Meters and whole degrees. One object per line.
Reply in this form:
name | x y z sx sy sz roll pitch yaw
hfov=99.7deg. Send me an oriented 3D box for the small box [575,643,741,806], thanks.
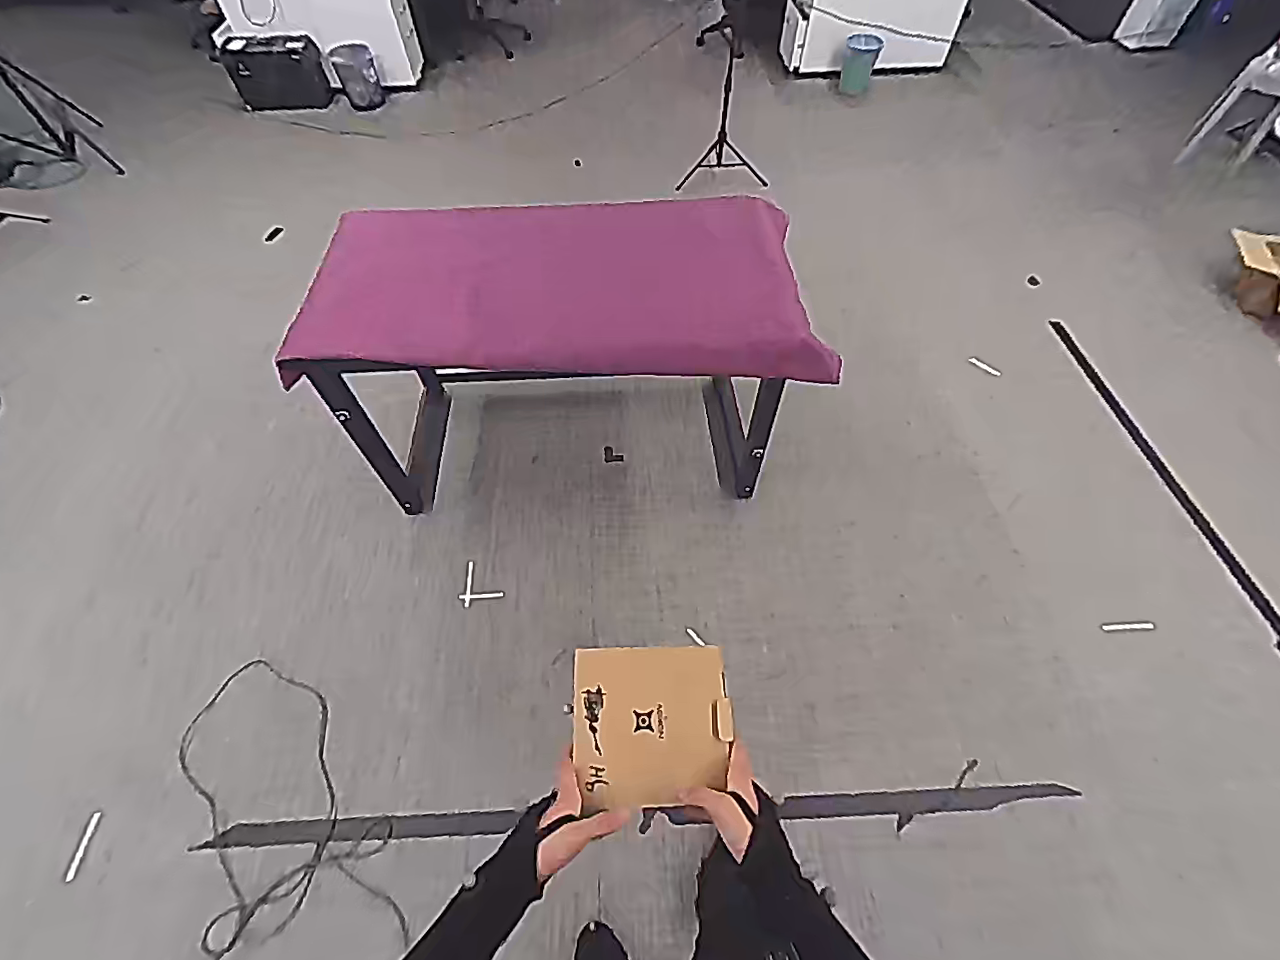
small box | 0.014 0.300 0.665 0.179 0.176 0.168 0 61 -3
